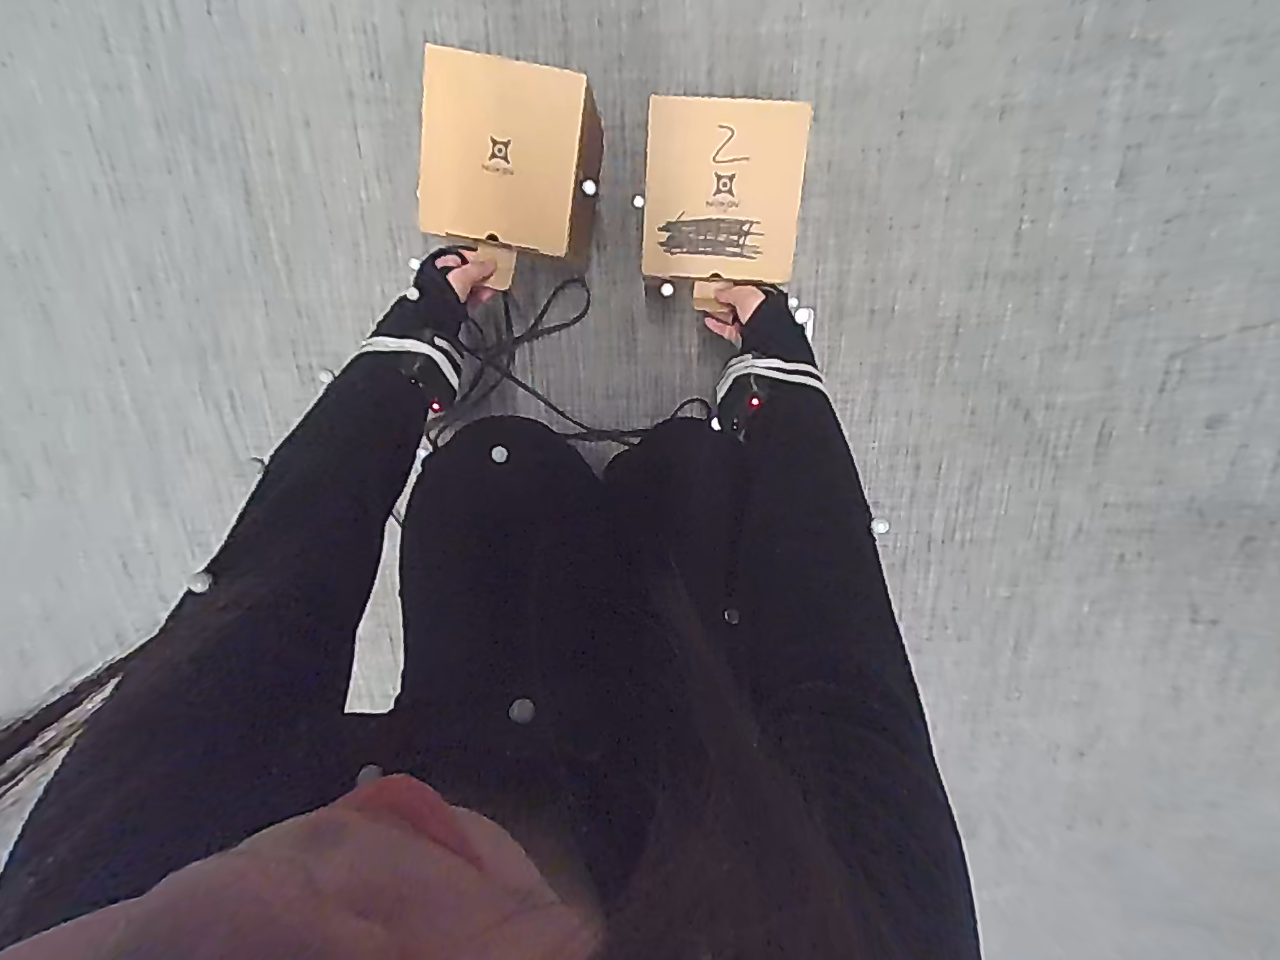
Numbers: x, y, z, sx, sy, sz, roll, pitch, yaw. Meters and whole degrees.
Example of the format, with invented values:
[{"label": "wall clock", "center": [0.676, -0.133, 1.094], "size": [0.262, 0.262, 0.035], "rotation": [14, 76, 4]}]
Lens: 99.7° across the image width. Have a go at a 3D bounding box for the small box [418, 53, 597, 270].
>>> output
[{"label": "small box", "center": [-0.148, -0.361, 0.649], "size": [0.168, 0.176, 0.179], "rotation": [10, 108, -2]}]
